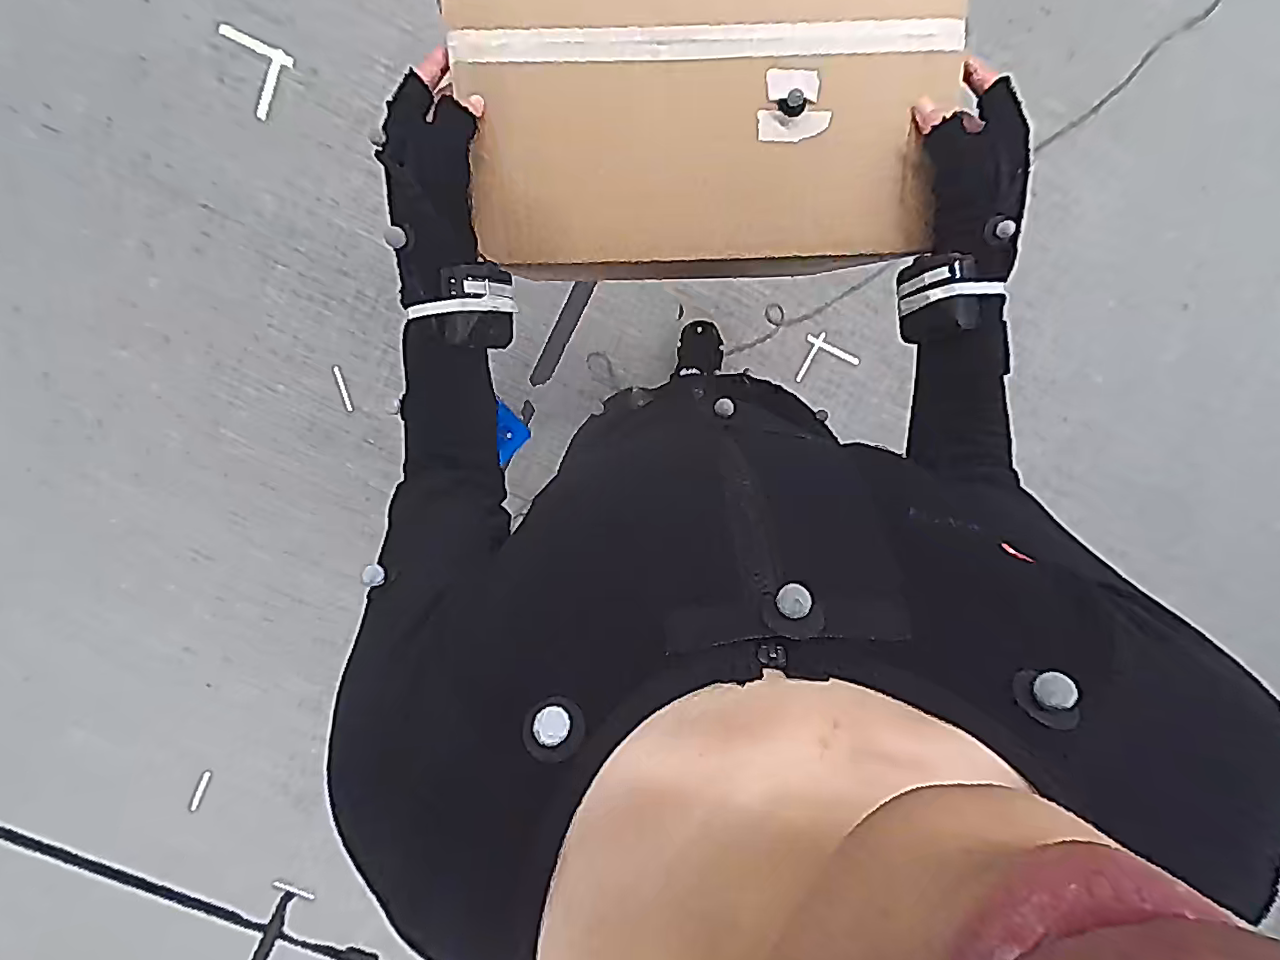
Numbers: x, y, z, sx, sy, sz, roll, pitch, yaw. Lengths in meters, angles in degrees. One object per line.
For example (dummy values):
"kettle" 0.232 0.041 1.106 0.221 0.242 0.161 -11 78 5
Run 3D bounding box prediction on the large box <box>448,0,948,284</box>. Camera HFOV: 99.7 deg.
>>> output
"large box" 0.043 -0.394 0.578 0.408 0.320 0.320 -3 107 -2

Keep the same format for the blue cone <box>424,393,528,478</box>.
"blue cone" -0.423 -0.088 1.303 0.192 0.380 0.193 -41 98 8
